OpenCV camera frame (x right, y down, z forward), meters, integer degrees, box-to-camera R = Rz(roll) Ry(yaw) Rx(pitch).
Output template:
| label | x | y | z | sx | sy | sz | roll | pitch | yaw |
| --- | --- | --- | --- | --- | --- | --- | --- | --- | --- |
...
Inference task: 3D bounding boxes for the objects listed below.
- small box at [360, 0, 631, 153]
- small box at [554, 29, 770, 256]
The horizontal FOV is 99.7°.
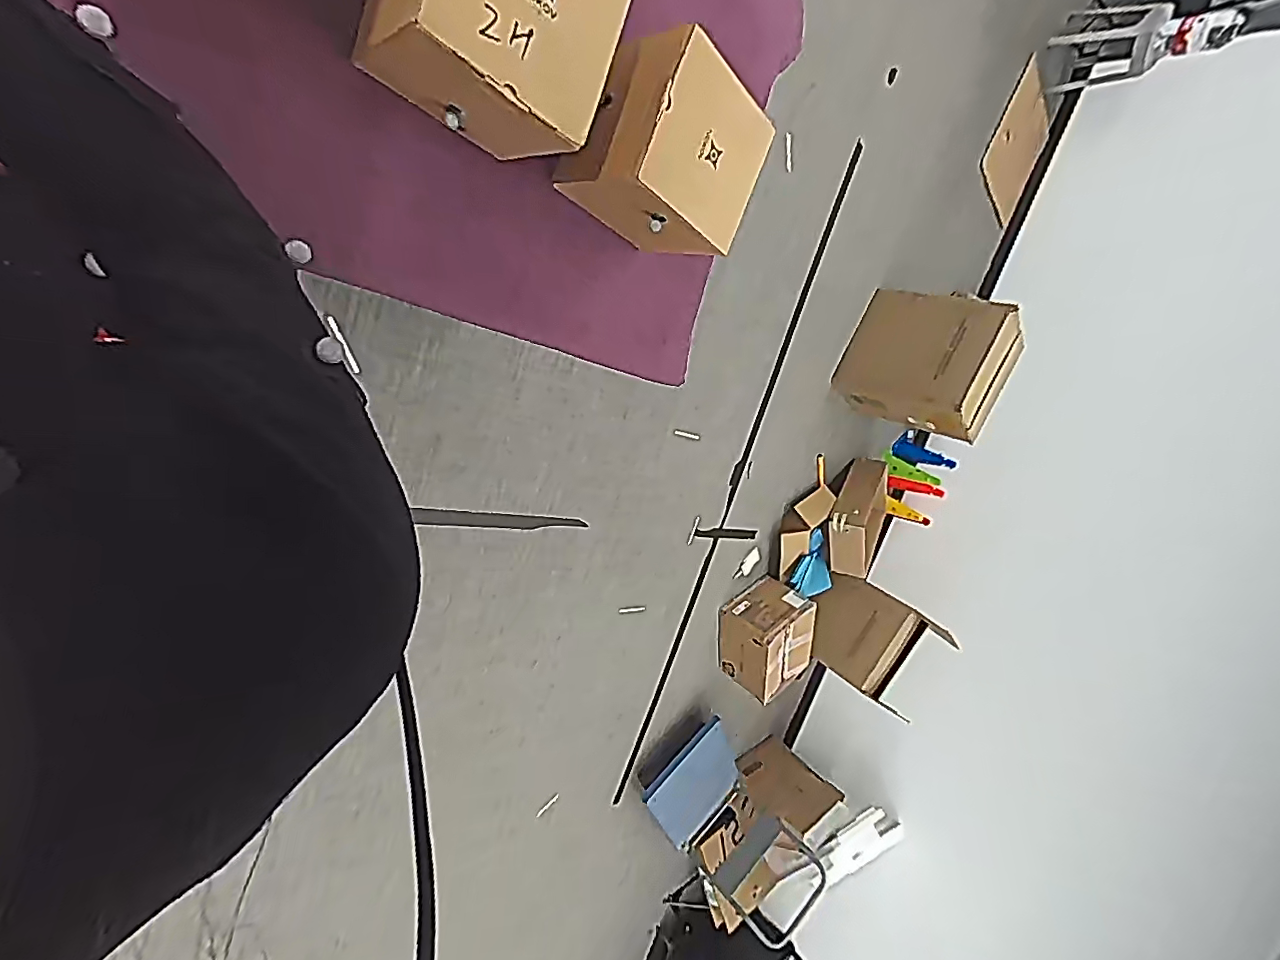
| label | x | y | z | sx | sy | sz | roll | pitch | yaw |
| --- | --- | --- | --- | --- | --- | --- | --- | --- | --- |
| small box | -0.135 | -0.438 | 0.503 | 0.168 | 0.176 | 0.179 | 12 | 102 | -47 |
| small box | 0.025 | -0.407 | 0.680 | 0.179 | 0.176 | 0.168 | 15 | 99 | -47 |
